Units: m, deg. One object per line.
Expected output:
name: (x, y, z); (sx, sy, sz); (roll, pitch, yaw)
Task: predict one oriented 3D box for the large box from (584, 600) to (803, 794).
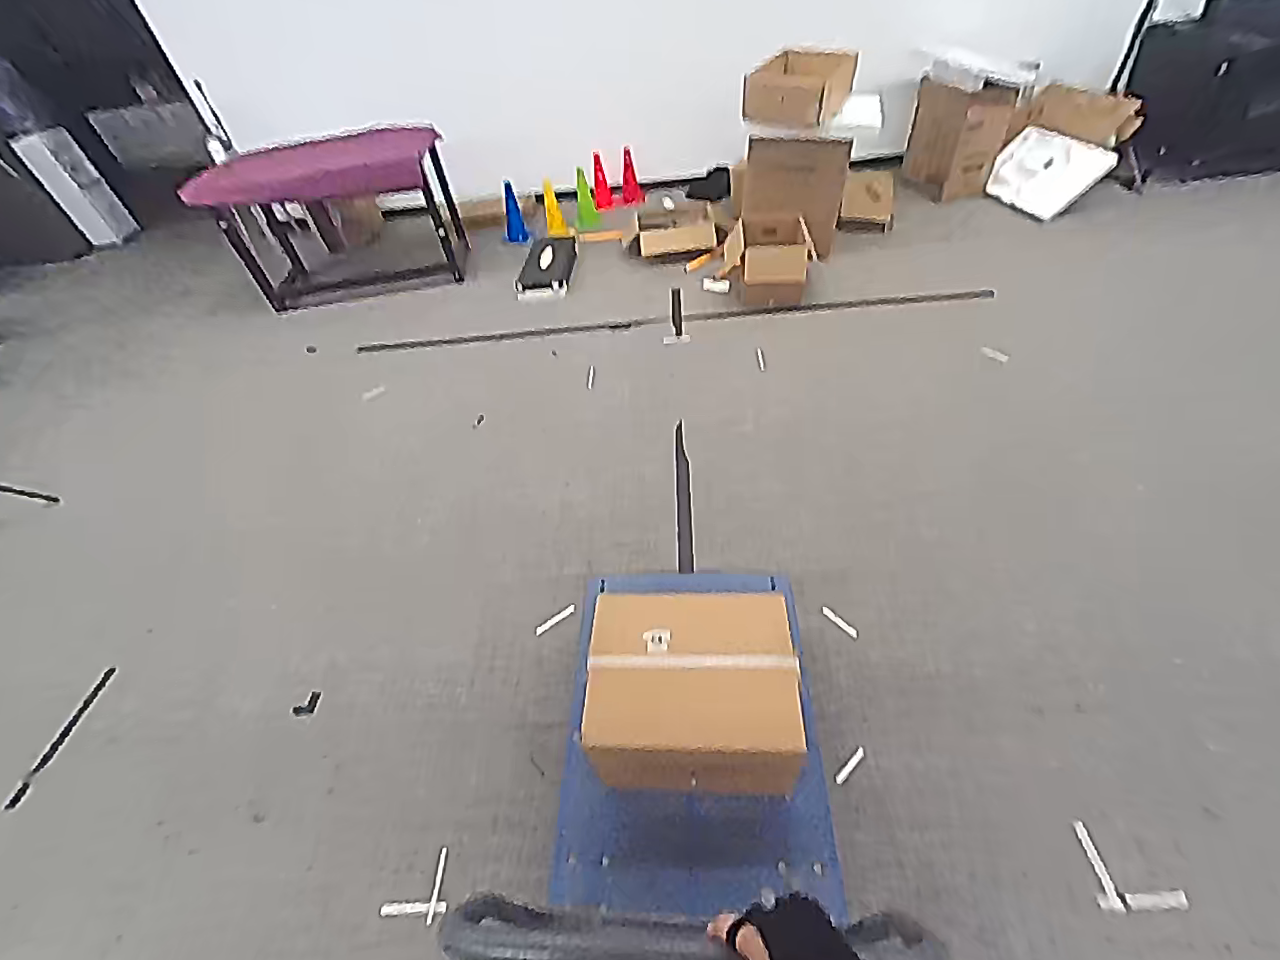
large box: (0.117, 0.482, 1.187); (0.408, 0.320, 0.320); (-3, 46, 7)
